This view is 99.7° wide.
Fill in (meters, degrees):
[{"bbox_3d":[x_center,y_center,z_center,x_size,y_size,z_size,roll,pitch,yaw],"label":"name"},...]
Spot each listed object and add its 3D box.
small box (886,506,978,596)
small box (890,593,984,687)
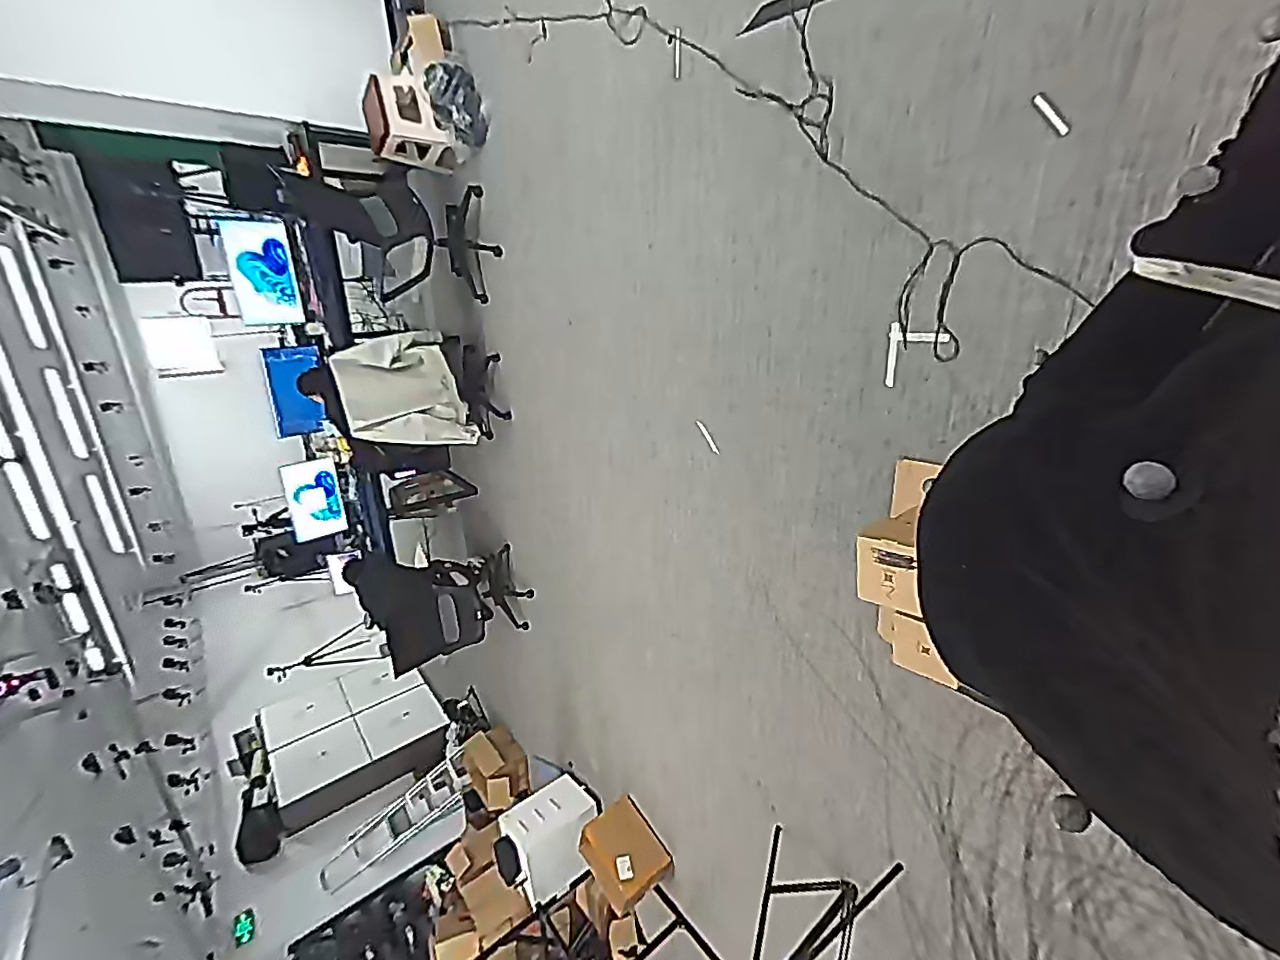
[{"bbox_3d":[0.781,0.180,1.444,0.168,0.176,0.179,14,114,49],"label":"small box"},{"bbox_3d":[0.819,0.432,1.496,0.179,0.176,0.168,13,114,49],"label":"small box"}]
